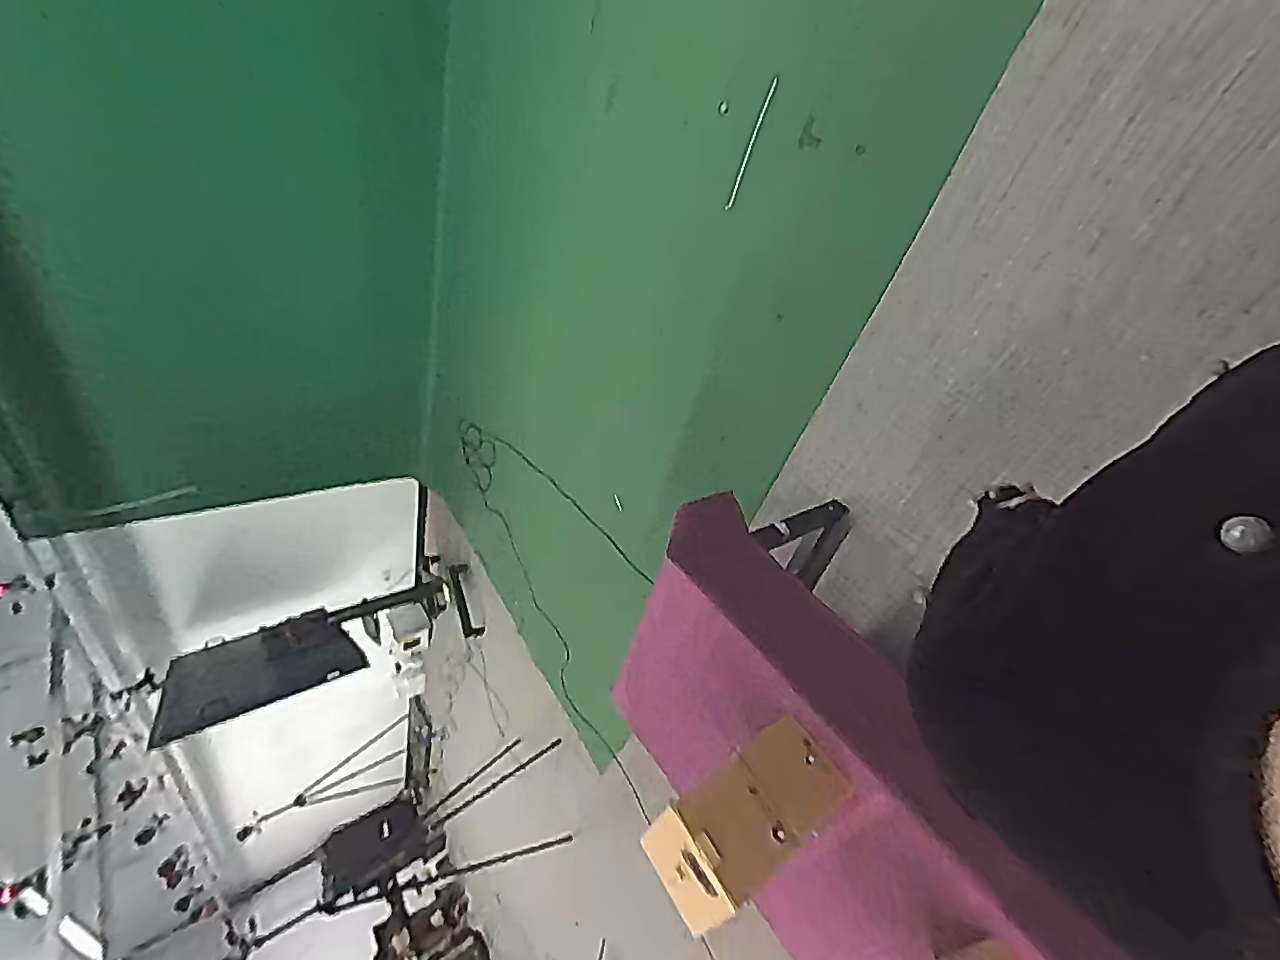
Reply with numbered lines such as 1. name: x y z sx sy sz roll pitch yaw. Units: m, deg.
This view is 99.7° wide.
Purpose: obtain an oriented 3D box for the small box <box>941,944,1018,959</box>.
1. small box: 0.512 0.826 0.785 0.179 0.176 0.168 48 135 34

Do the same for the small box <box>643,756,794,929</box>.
1. small box: 0.137 0.618 0.936 0.168 0.176 0.179 50 136 31
